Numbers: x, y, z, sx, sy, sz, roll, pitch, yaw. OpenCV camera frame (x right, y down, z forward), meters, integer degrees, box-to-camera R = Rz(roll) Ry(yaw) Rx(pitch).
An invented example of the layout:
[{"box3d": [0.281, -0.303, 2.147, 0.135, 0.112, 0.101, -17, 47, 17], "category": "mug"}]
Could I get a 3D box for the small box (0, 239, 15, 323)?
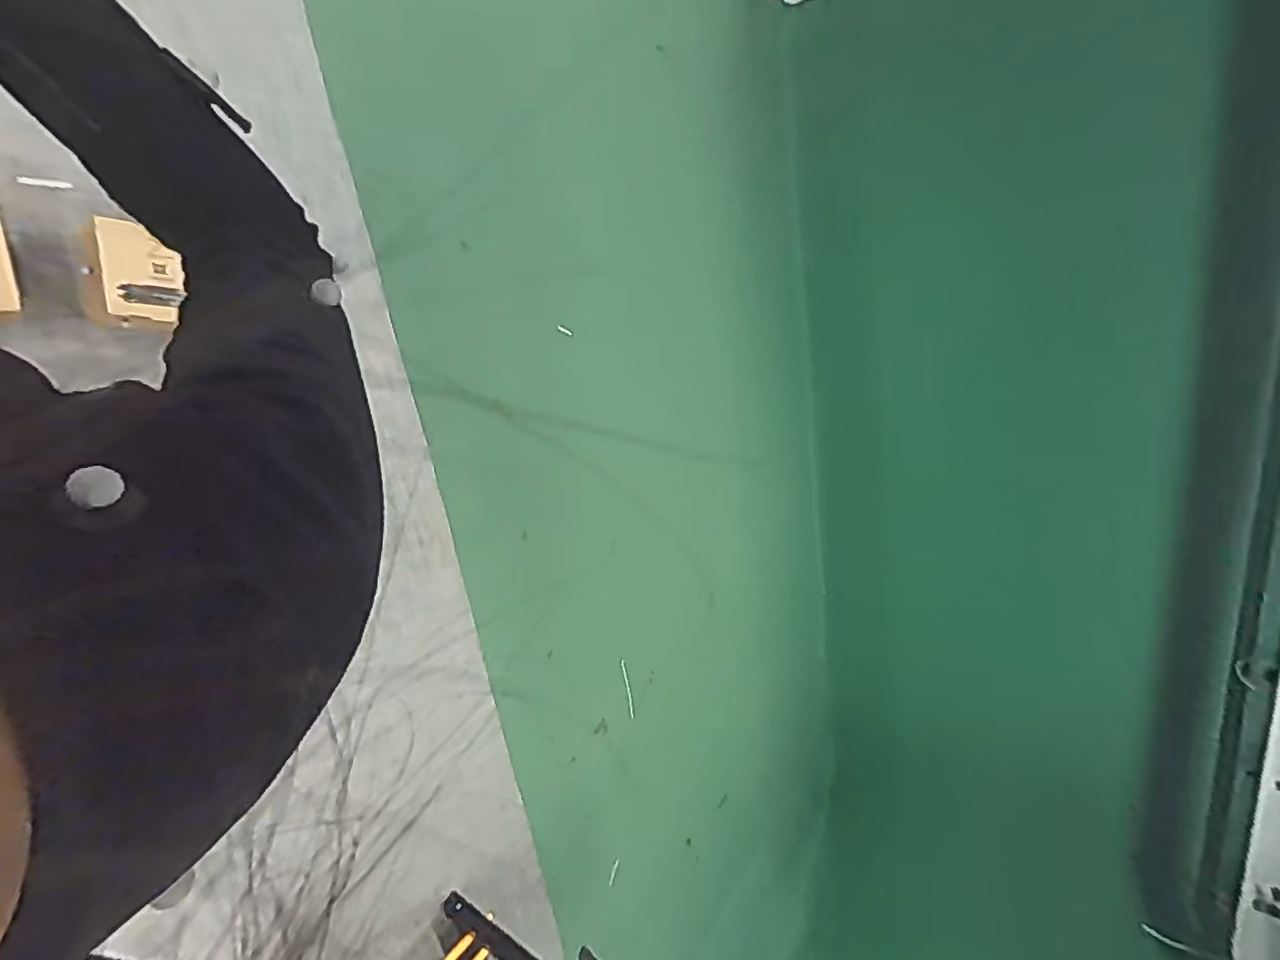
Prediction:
[{"box3d": [-1.141, -0.351, 0.857, 0.168, 0.176, 0.179, -14, 104, -51], "category": "small box"}]
